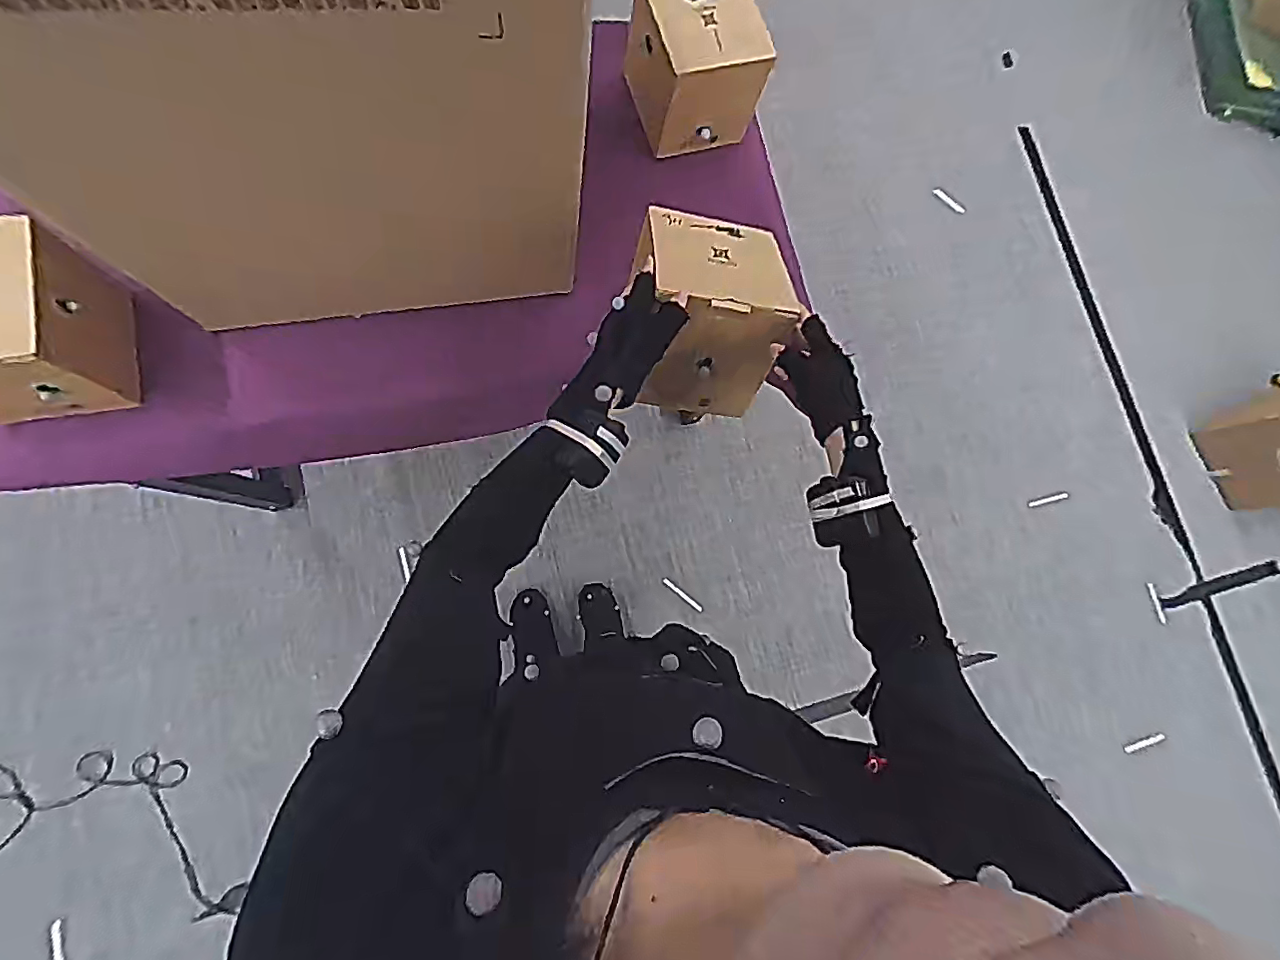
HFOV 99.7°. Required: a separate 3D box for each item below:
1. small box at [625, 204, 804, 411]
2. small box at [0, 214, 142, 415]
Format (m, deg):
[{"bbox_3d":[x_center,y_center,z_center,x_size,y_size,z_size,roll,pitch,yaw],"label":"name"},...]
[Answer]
[{"bbox_3d":[0.078,-0.207,0.676,0.168,0.176,0.179,6,53,-12],"label":"small box"},{"bbox_3d":[-0.753,-0.187,0.655,0.168,0.176,0.179,-10,80,-14],"label":"small box"}]
